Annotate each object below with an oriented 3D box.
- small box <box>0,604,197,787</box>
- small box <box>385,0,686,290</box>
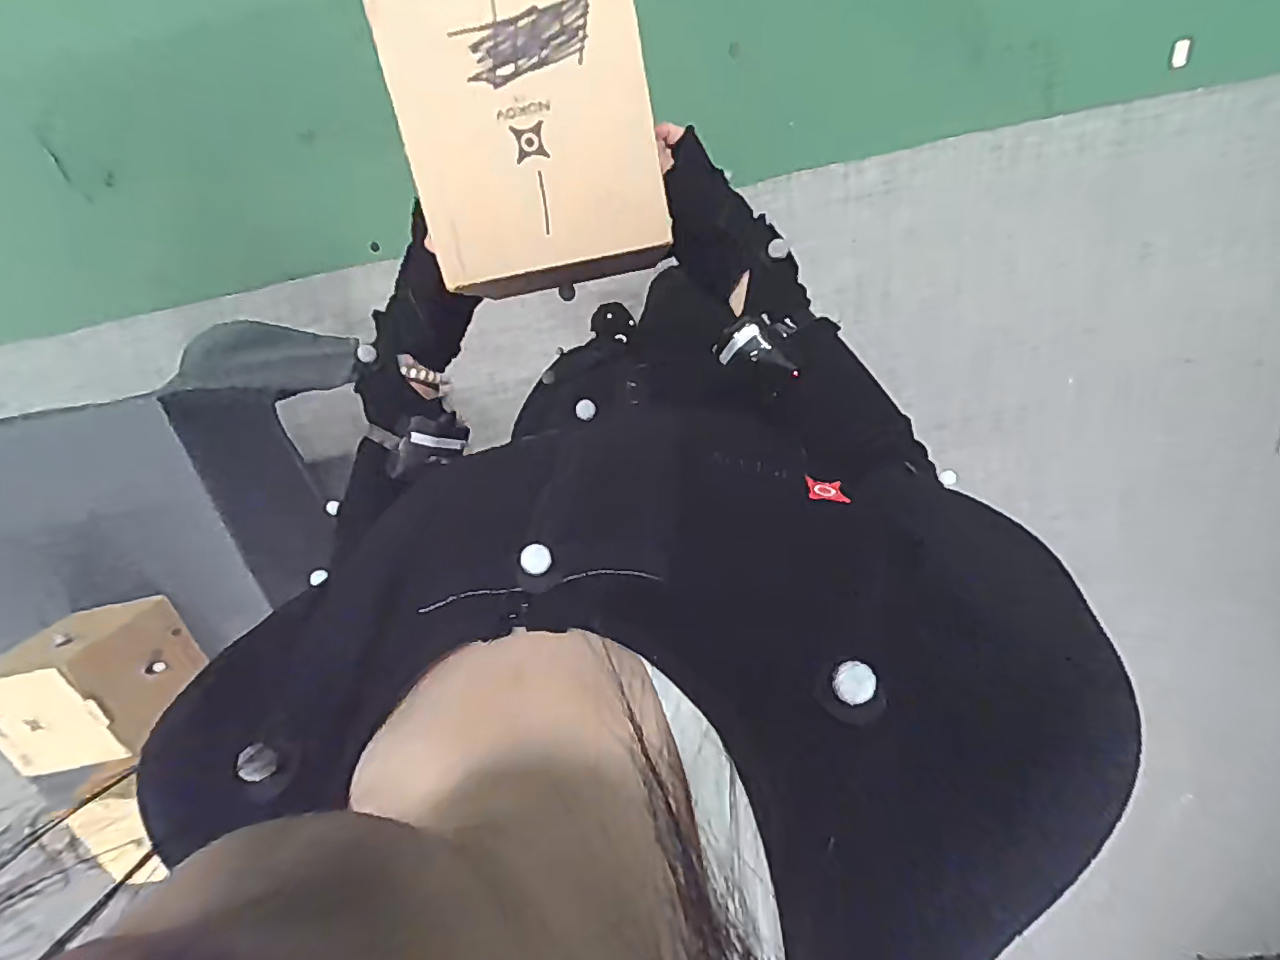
[{"bbox_3d":[-0.801,0.301,0.783,0.179,0.176,0.168,-13,111,4],"label":"small box"},{"bbox_3d":[-0.068,-0.256,0.420,0.168,0.176,0.179,-11,106,0],"label":"small box"}]
